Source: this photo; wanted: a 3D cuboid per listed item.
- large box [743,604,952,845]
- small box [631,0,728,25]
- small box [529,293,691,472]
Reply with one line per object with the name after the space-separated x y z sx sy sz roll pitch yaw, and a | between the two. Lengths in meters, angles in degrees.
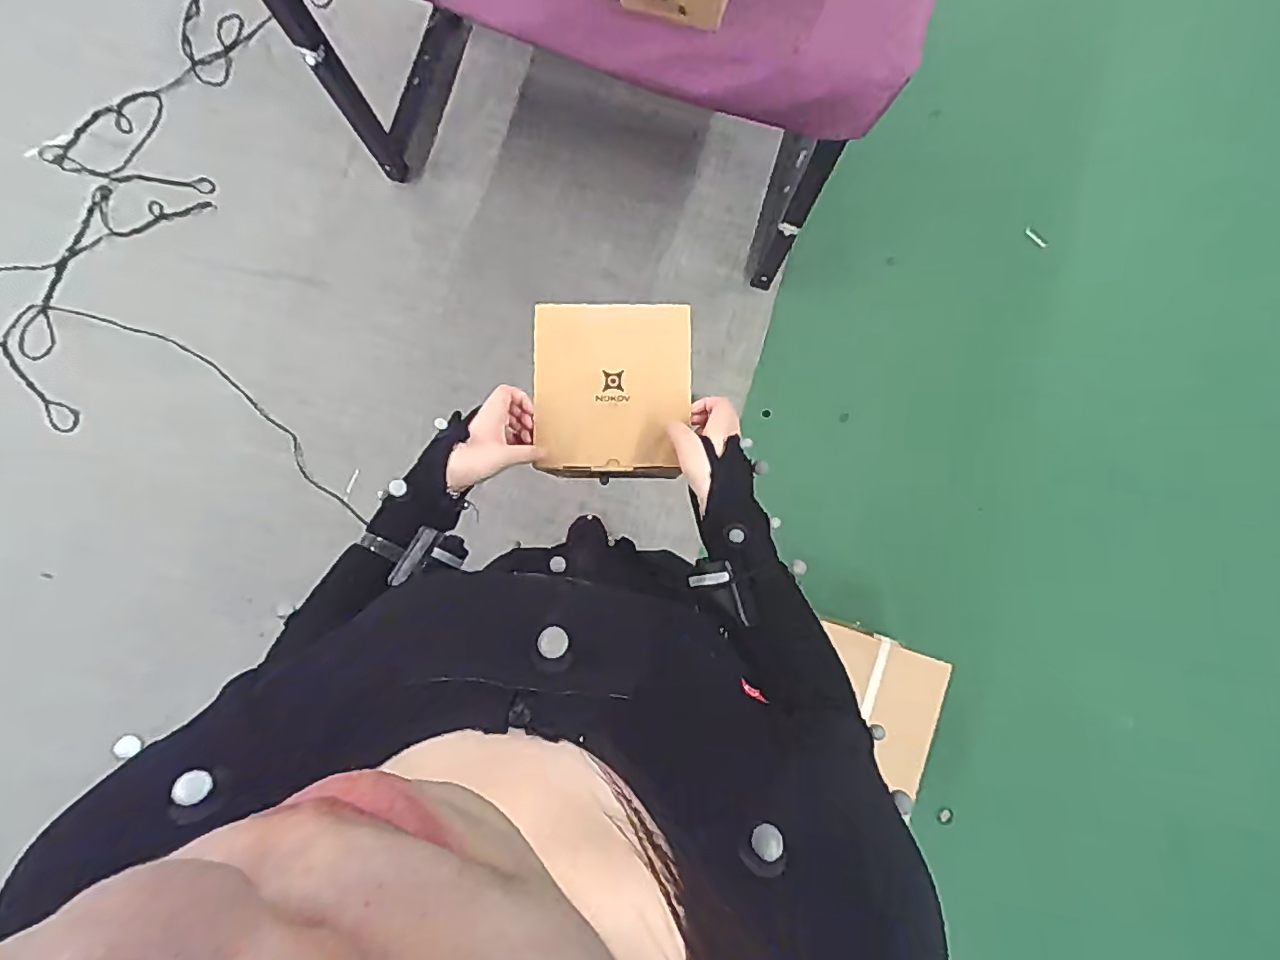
0.479 0.557 1.318 0.320 0.320 0.408 19 86 2 | large box
0.074 -0.825 0.779 0.168 0.176 0.179 17 85 2 | small box
-0.032 -0.102 0.631 0.168 0.176 0.179 0 89 -1 | small box
